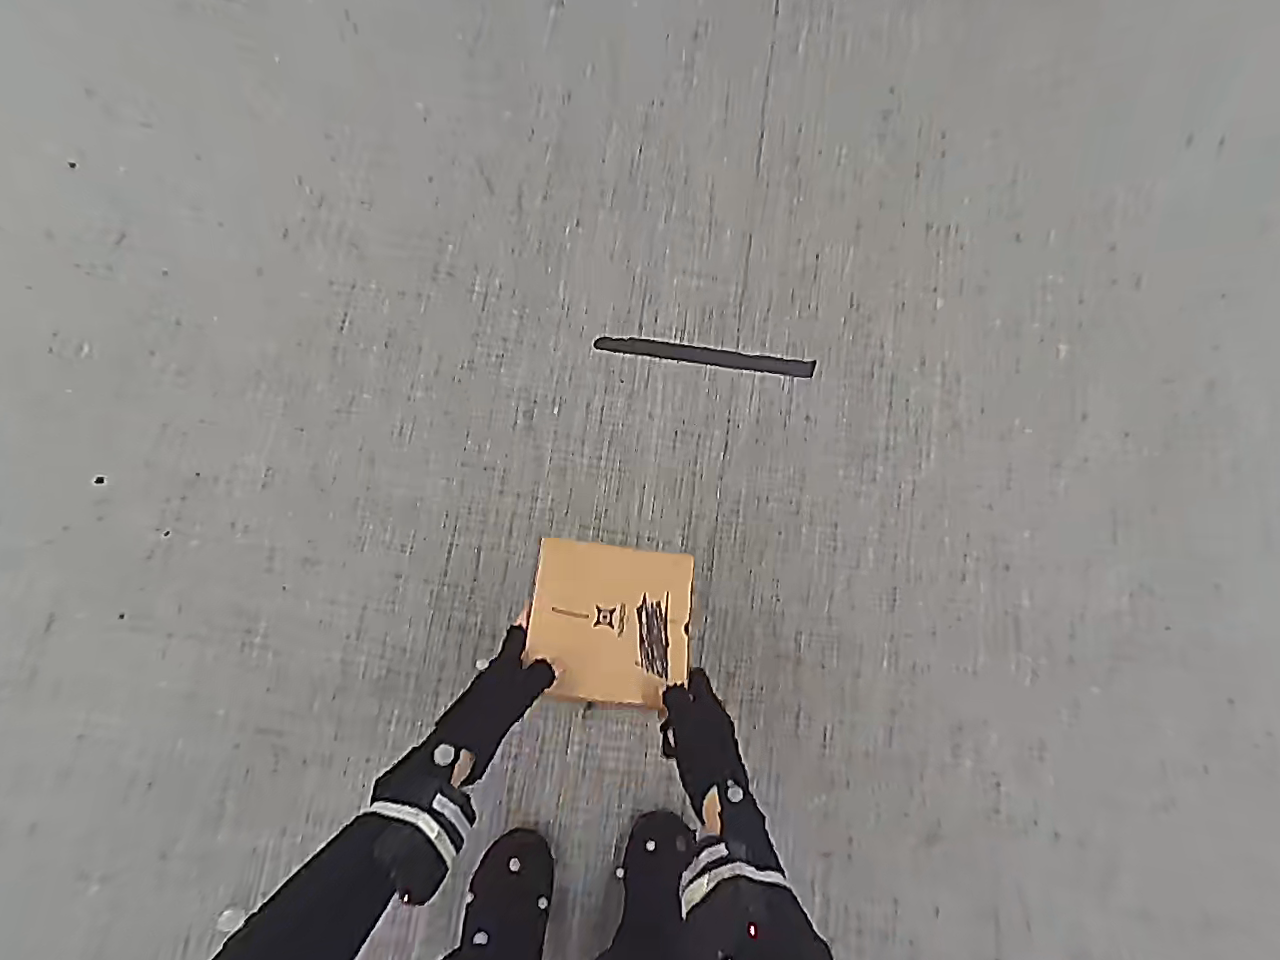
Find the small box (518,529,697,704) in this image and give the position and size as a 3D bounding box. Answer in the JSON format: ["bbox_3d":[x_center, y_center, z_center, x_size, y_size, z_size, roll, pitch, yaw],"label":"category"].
[{"bbox_3d":[-0.040,0.171,0.649,0.179,0.176,0.168,9,66,-6],"label":"small box"}]
